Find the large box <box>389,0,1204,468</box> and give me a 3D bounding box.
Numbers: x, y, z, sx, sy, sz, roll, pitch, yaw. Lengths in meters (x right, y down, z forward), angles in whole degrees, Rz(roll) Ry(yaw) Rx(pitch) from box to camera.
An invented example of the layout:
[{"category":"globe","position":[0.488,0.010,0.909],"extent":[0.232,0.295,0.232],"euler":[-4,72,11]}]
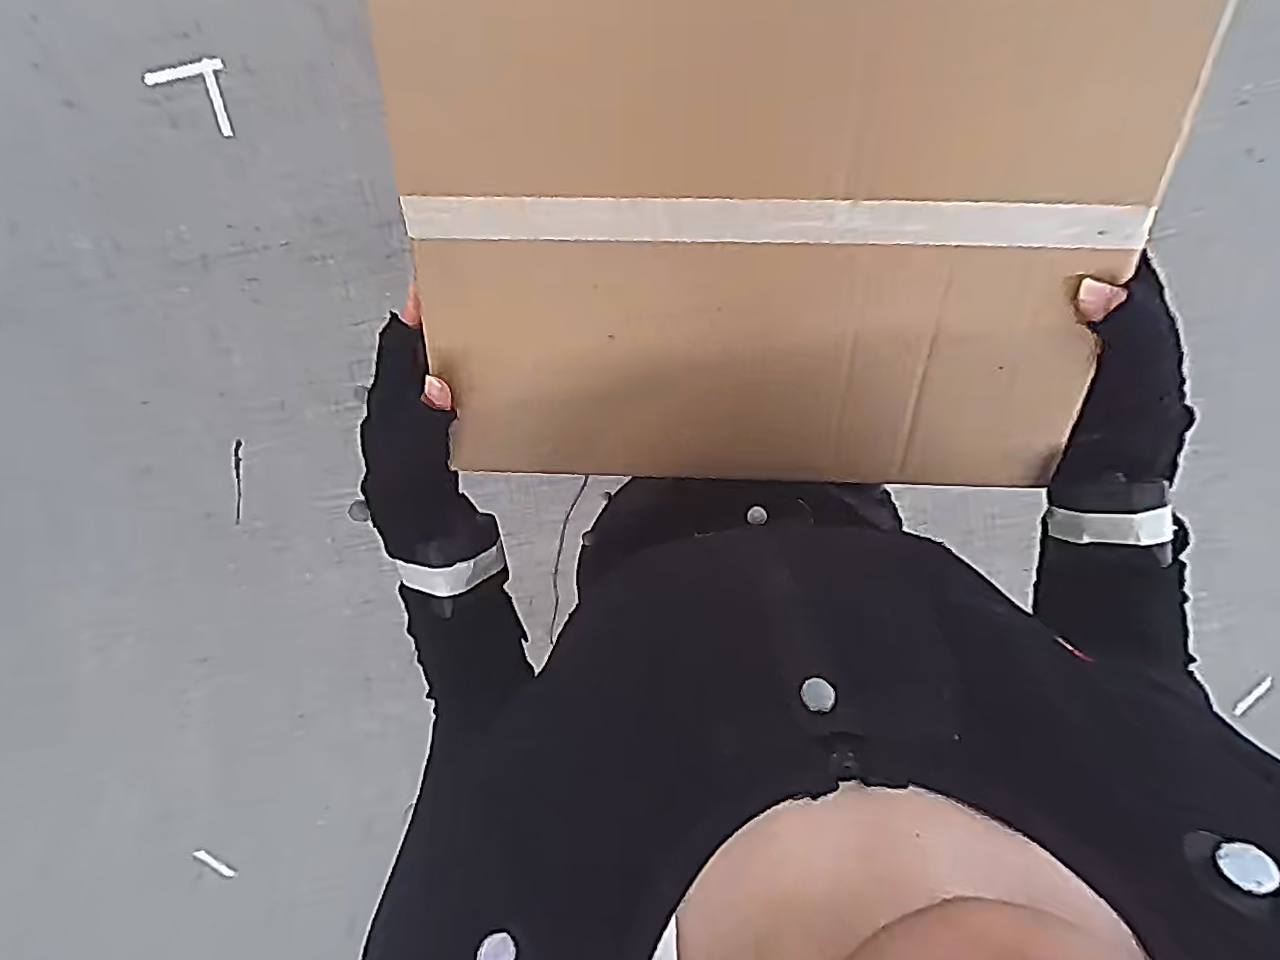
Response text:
[{"category":"large box","position":[0.073,-0.214,0.441],"extent":[0.408,0.320,0.320],"euler":[2,117,1]}]
